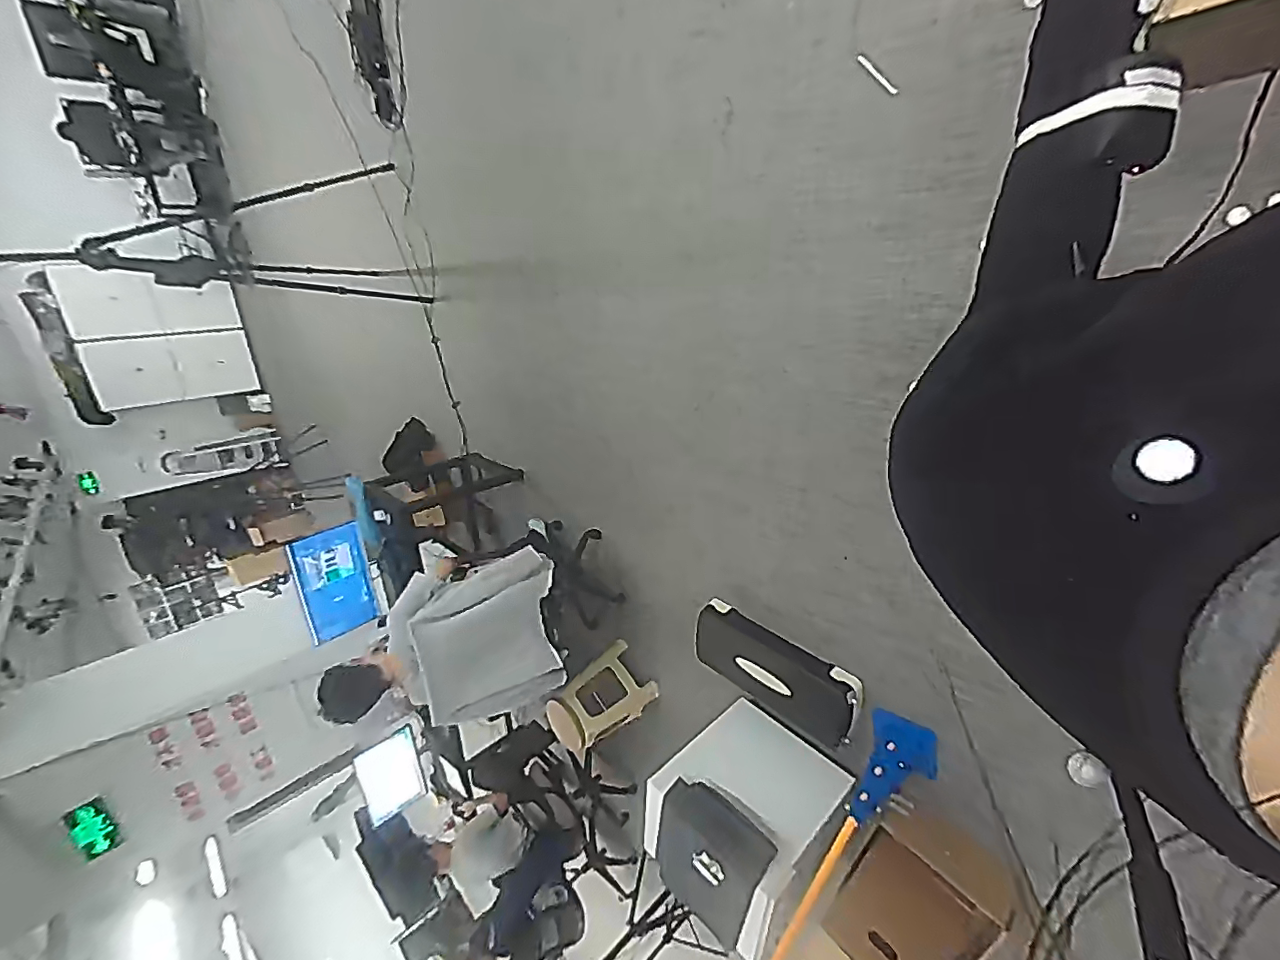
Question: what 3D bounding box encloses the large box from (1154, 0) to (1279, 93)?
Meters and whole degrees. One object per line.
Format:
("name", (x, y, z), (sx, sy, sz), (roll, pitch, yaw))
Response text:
("large box", (0.582, -0.477, 0.293), (0.408, 0.320, 0.320), (10, 114, 43))
